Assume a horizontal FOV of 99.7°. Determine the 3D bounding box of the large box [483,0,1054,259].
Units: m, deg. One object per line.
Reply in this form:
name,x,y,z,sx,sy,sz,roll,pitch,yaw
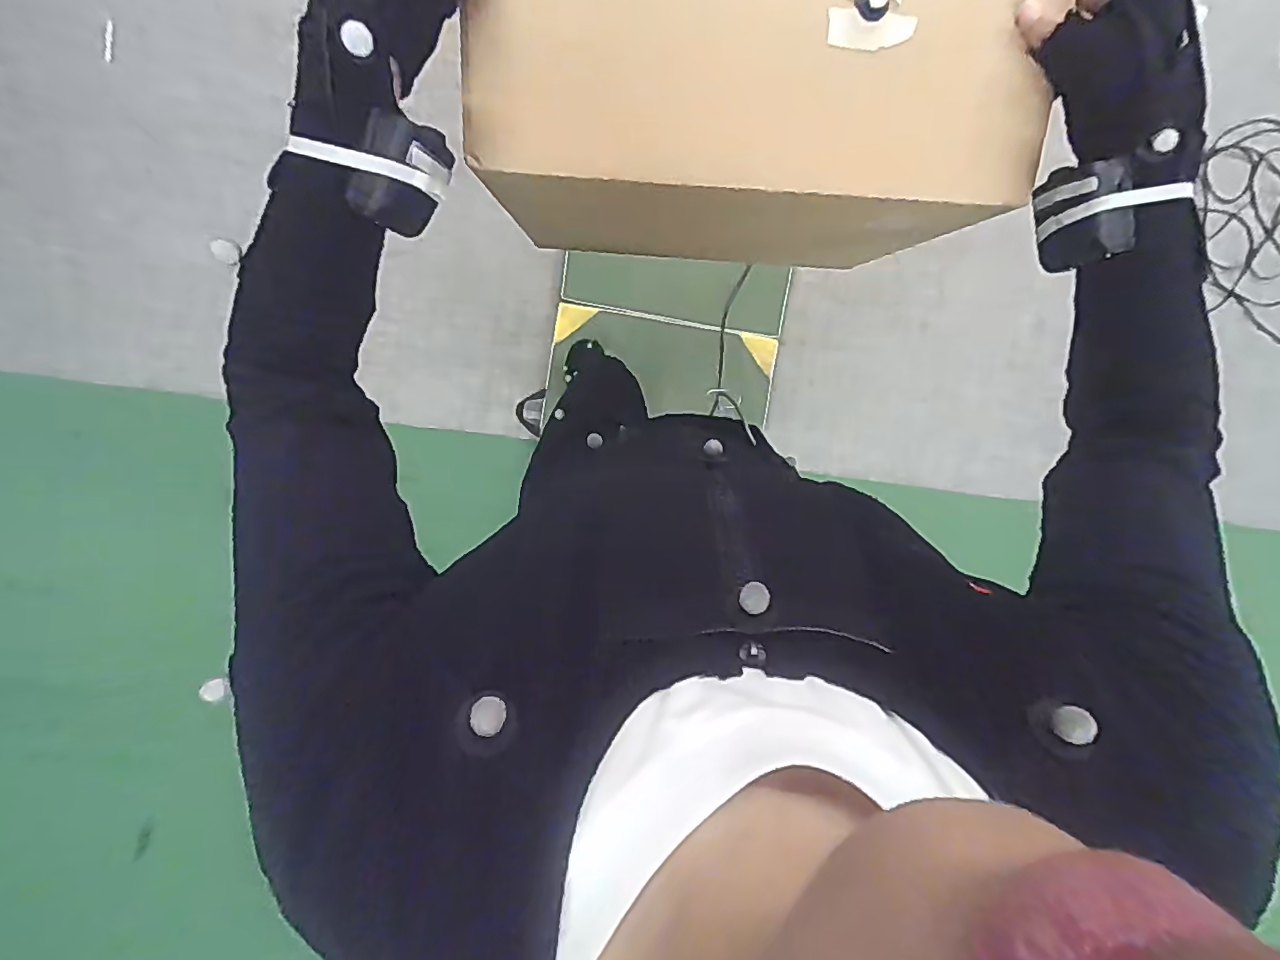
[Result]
large box,0.084,-0.401,0.507,0.408,0.320,0.320,2,104,-3
